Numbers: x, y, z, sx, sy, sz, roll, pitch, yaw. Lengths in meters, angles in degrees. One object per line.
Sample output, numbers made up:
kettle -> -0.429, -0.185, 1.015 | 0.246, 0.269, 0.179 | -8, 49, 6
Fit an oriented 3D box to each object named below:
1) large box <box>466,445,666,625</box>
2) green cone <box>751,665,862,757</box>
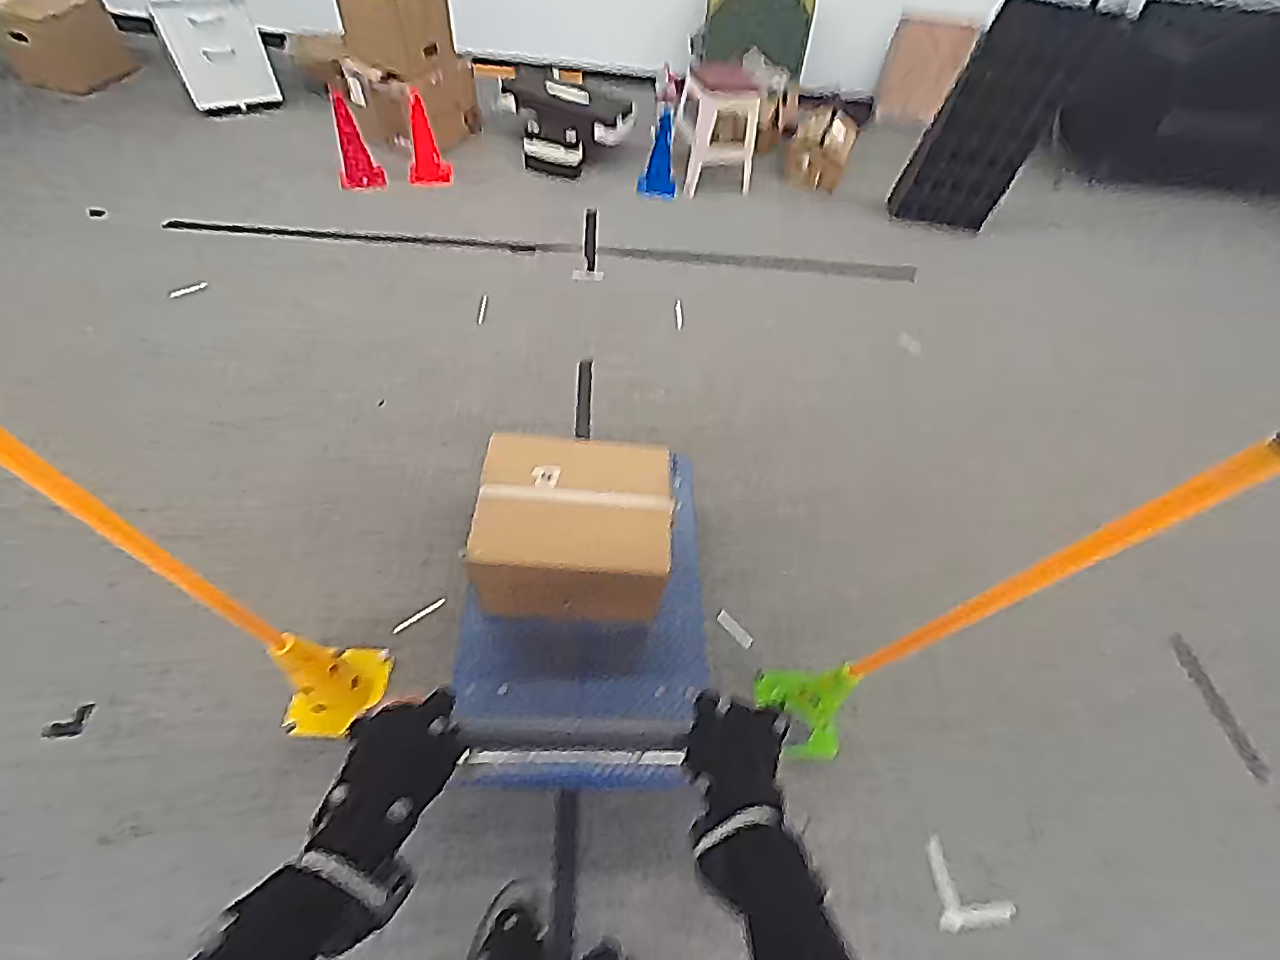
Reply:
large box -> -0.155, 0.141, 1.278 | 0.408, 0.320, 0.320 | 5, 56, -4
green cone -> 0.416, 0.511, 1.271 | 0.202, 0.368, 0.200 | 6, 54, -5
